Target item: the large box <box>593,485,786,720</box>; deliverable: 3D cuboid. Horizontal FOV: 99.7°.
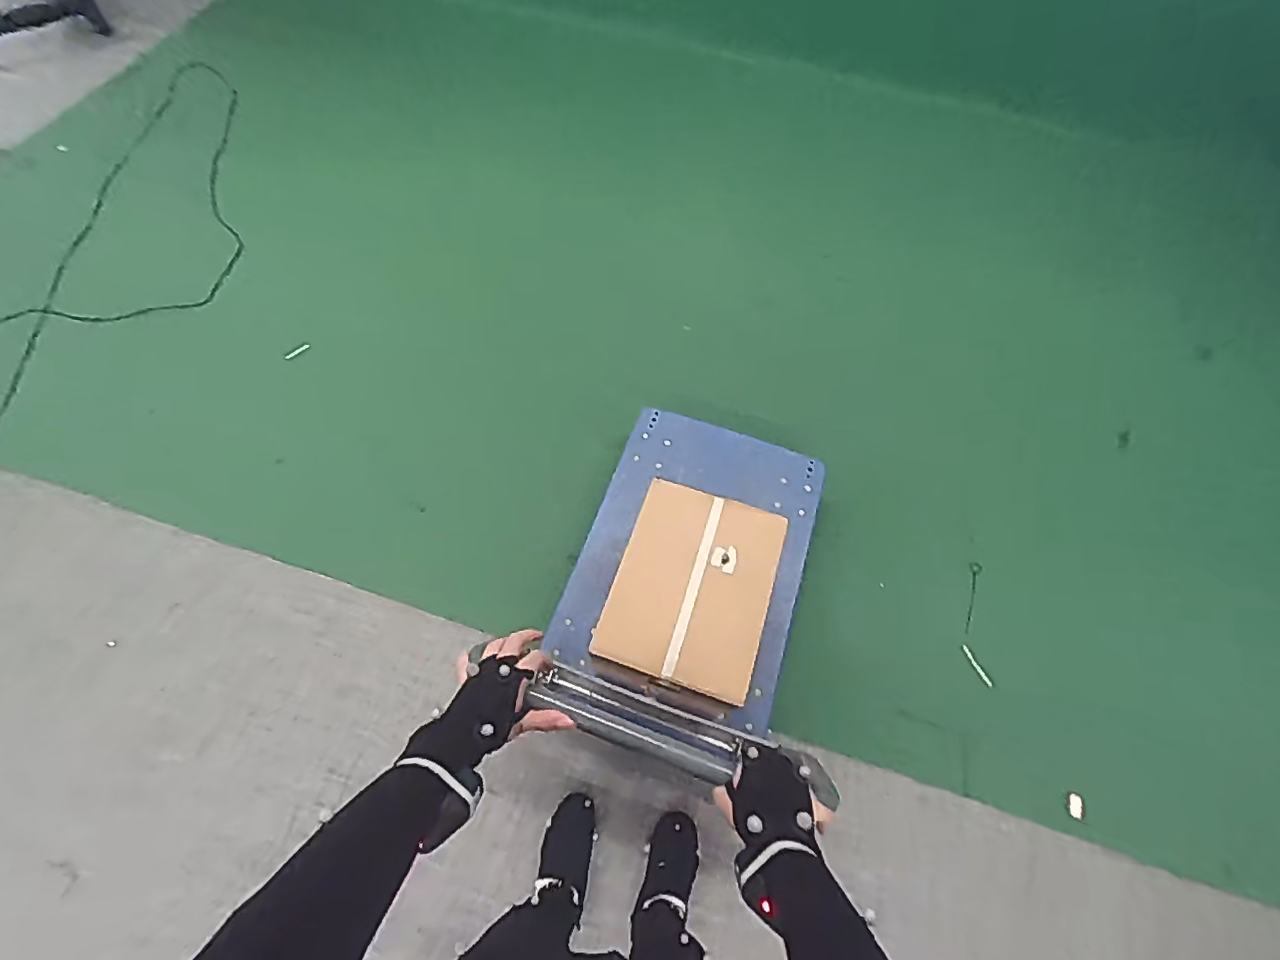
[{"bbox_3d":[0.110,0.288,1.240,0.320,0.320,0.408,18,64,7],"label":"large box"}]
